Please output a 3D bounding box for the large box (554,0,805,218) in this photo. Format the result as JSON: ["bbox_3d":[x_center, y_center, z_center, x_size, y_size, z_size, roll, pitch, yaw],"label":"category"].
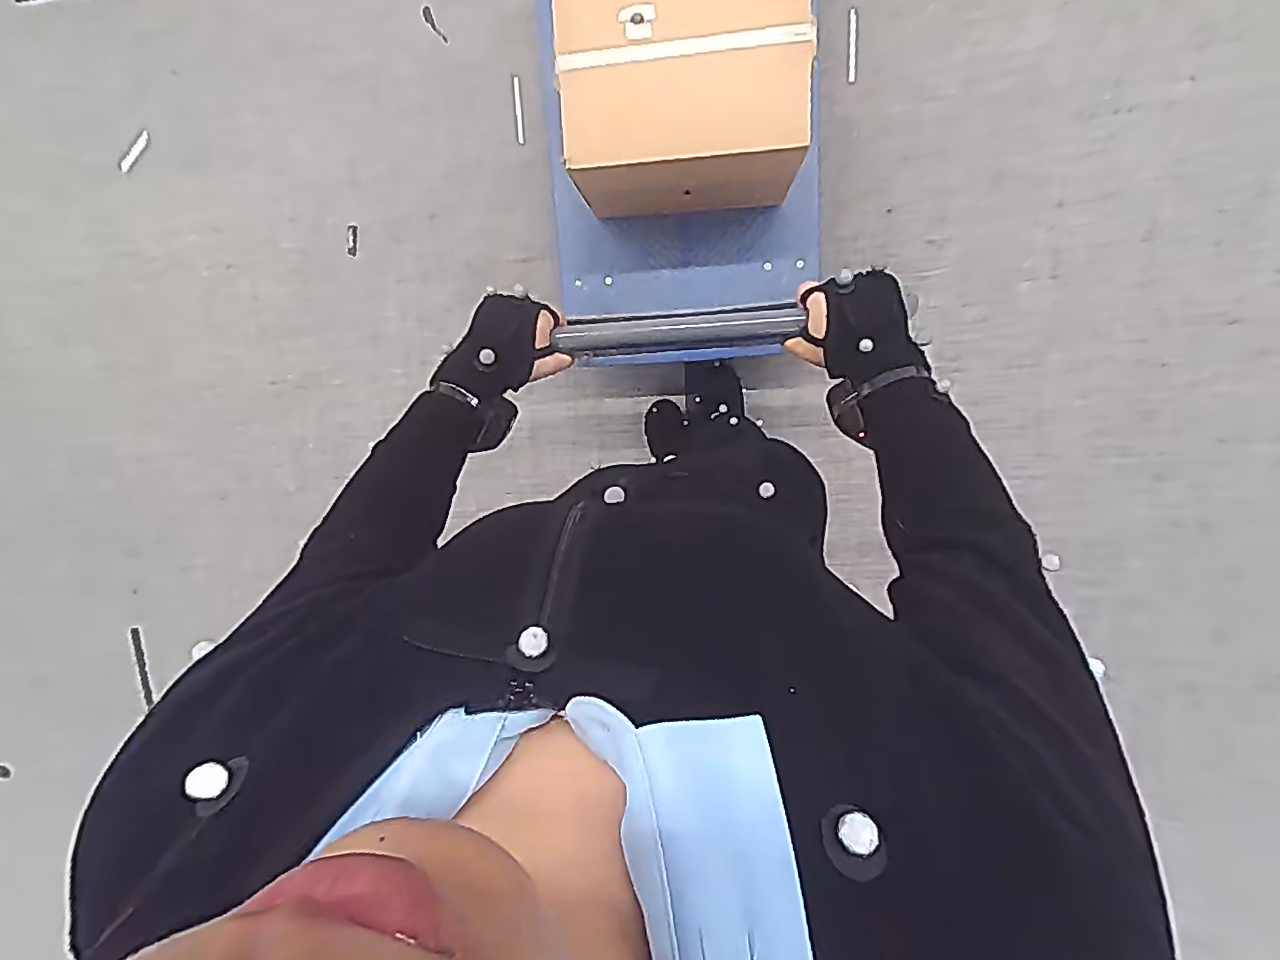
[{"bbox_3d":[0.083,-0.717,1.026,0.408,0.320,0.320,-2,100,7],"label":"large box"}]
